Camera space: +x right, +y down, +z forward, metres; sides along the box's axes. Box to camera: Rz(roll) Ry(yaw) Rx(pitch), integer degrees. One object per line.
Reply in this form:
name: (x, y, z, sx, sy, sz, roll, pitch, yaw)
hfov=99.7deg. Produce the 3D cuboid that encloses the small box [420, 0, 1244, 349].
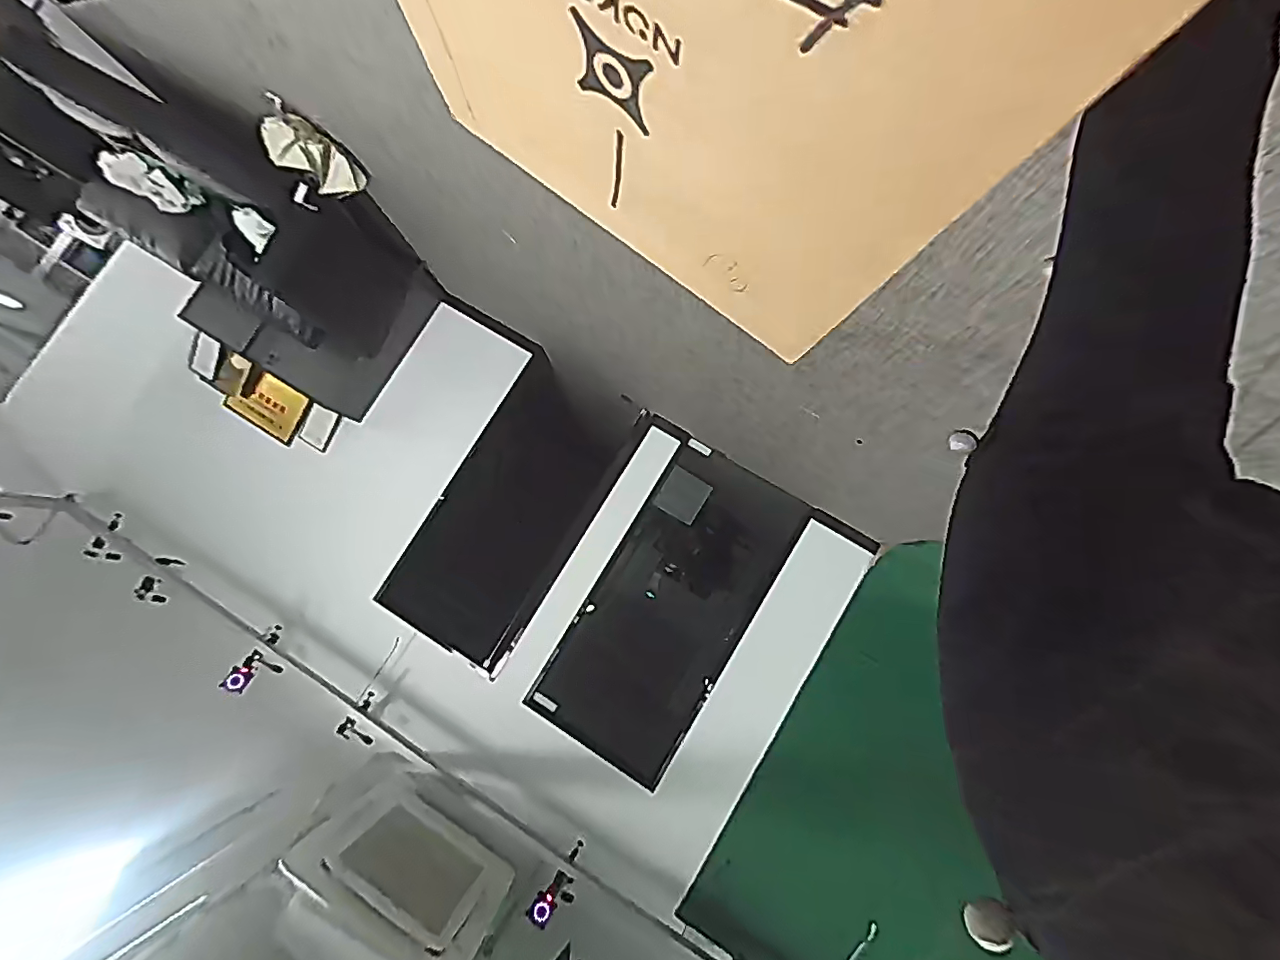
small box: (0.050, -0.167, 0.132, 0.168, 0.176, 0.179, 36, 177, -1)
